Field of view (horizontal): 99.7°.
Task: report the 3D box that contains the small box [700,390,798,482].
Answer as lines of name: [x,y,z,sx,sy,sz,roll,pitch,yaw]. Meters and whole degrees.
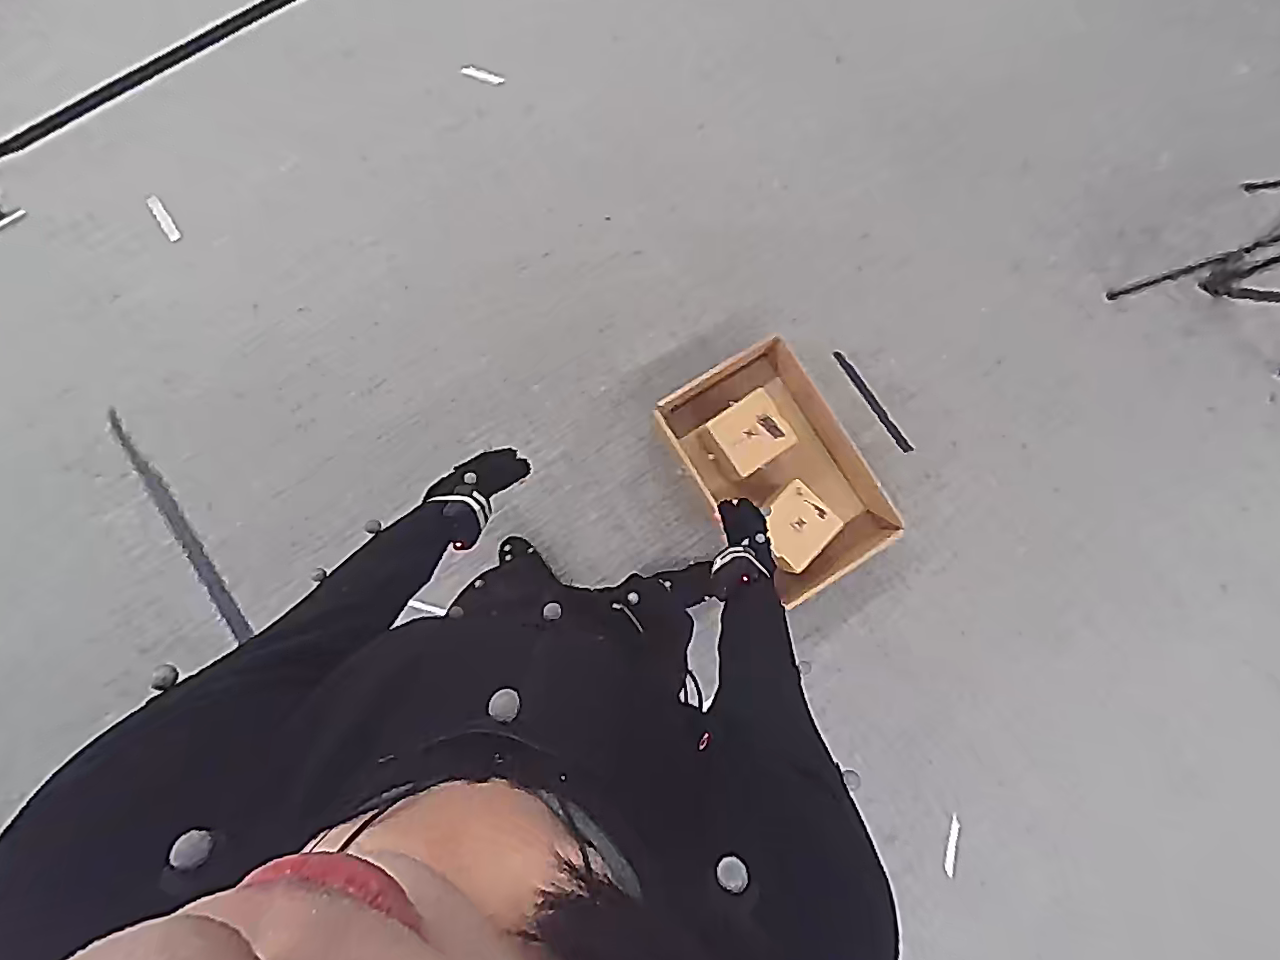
small box: [0.279,-0.111,1.432,0.179,0.176,0.168,-34,88,-5]
